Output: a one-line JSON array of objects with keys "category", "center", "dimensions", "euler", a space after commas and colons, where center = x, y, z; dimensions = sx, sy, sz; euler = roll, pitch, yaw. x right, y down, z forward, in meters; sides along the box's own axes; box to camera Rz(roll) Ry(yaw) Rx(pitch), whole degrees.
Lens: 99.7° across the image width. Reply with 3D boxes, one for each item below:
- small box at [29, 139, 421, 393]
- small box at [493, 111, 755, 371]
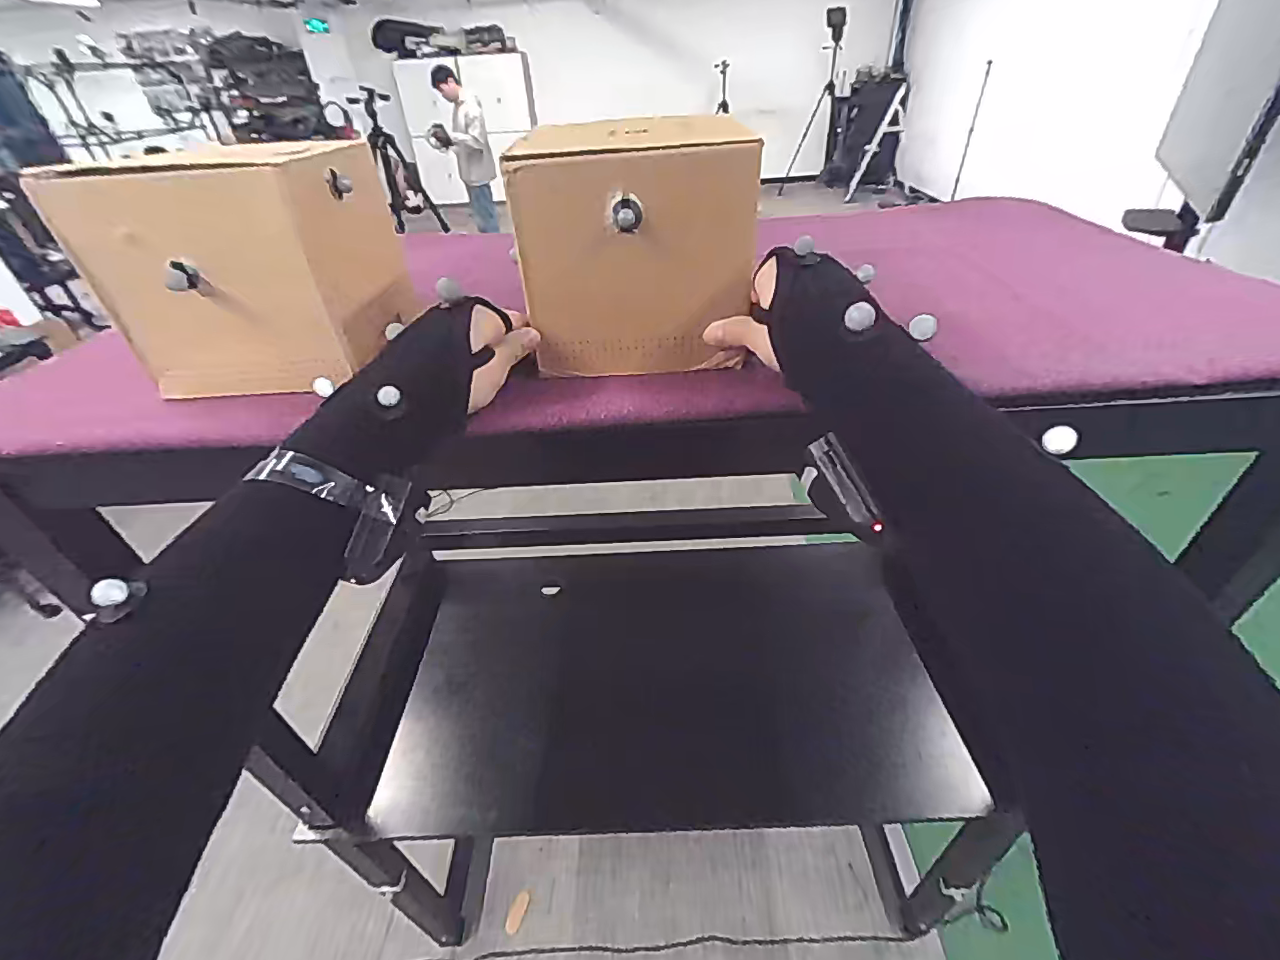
[{"category": "small box", "center": [-0.320, -0.185, 0.469], "dimensions": [0.179, 0.176, 0.168], "euler": [-5, 36, 1]}, {"category": "small box", "center": [-0.004, -0.202, 0.460], "dimensions": [0.179, 0.176, 0.168], "euler": [-3, 38, 2]}]
